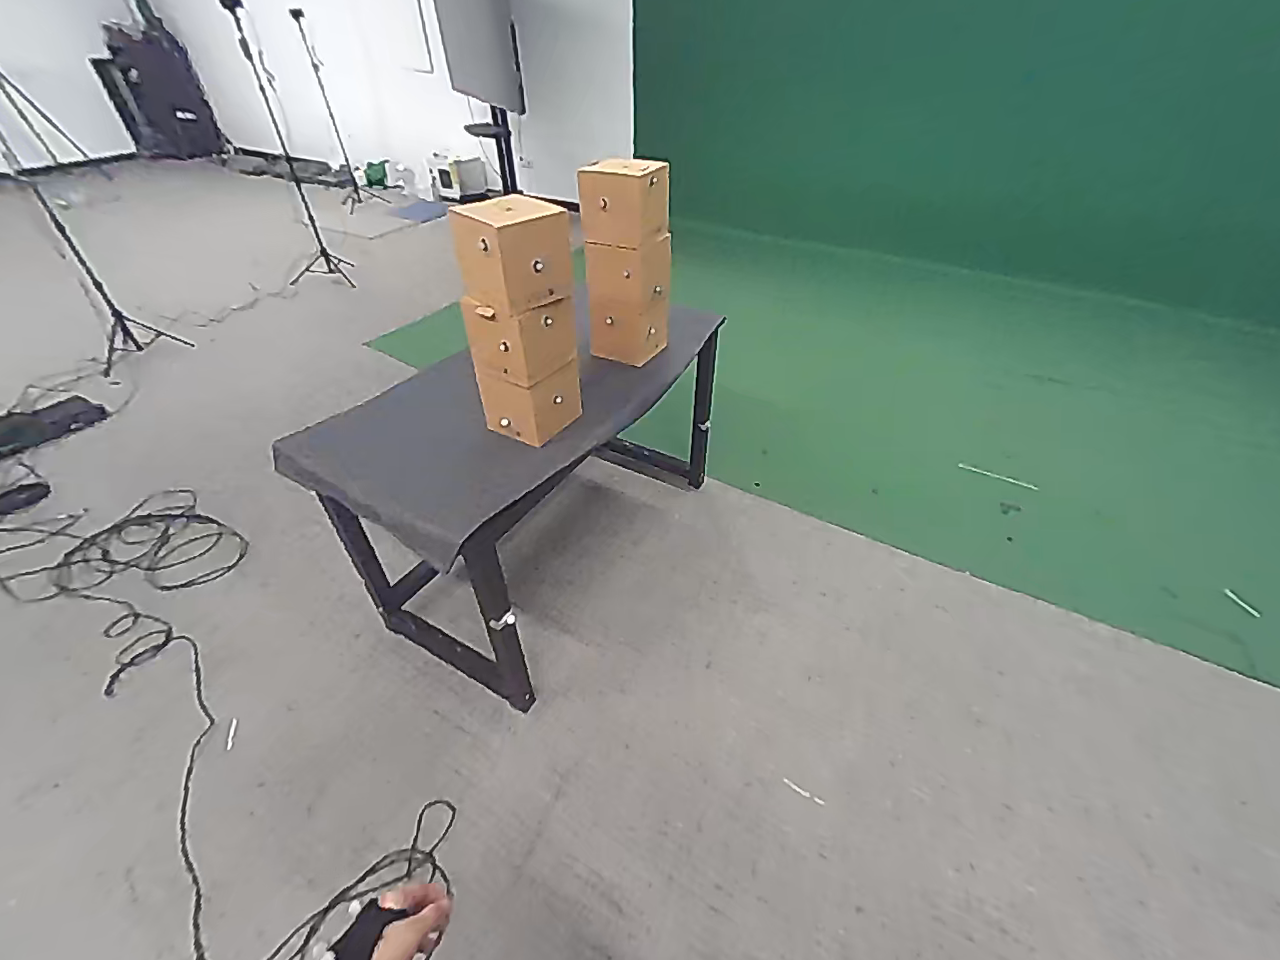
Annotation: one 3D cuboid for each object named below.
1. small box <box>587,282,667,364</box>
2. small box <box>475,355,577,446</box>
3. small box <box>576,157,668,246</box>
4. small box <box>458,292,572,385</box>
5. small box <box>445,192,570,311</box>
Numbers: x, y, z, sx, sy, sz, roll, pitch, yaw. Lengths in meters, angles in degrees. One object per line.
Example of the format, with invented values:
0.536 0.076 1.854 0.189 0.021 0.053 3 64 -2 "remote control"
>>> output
-0.034 -0.459 1.587 0.179 0.176 0.168 20 45 24 "small box"
-0.263 -0.210 1.297 0.168 0.176 0.179 21 46 24 "small box"
-0.040 -0.708 1.372 0.179 0.176 0.168 17 44 22 "small box"
-0.263 -0.330 1.189 0.168 0.176 0.179 23 45 24 "small box"
-0.257 -0.455 1.080 0.179 0.176 0.168 33 50 32 "small box"
